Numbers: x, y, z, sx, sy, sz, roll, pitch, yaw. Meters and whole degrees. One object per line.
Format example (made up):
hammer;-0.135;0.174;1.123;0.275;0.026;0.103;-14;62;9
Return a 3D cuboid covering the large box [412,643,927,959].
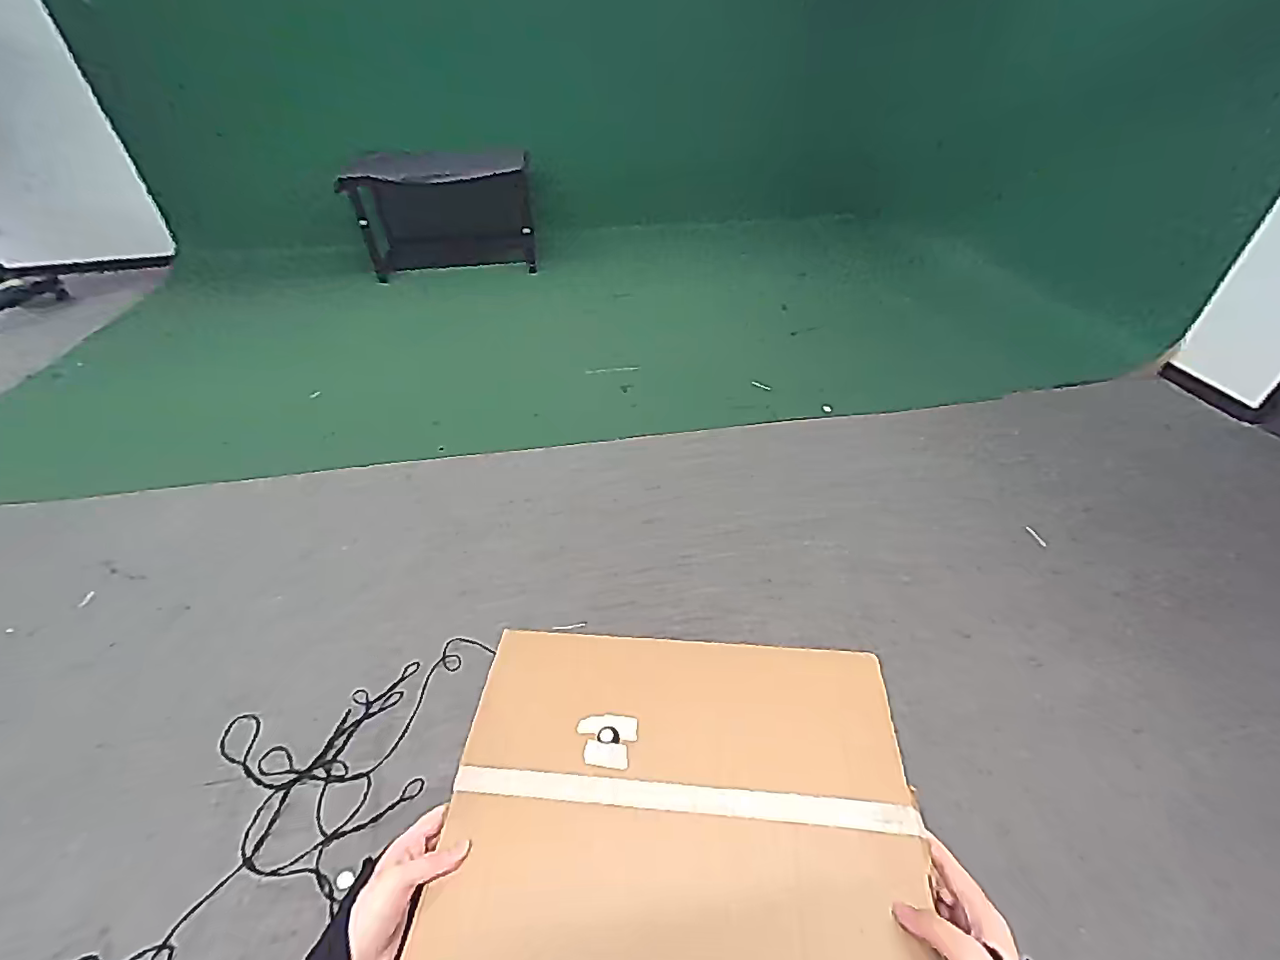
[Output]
large box;0.041;0.398;0.594;0.408;0.320;0.320;0;44;8
